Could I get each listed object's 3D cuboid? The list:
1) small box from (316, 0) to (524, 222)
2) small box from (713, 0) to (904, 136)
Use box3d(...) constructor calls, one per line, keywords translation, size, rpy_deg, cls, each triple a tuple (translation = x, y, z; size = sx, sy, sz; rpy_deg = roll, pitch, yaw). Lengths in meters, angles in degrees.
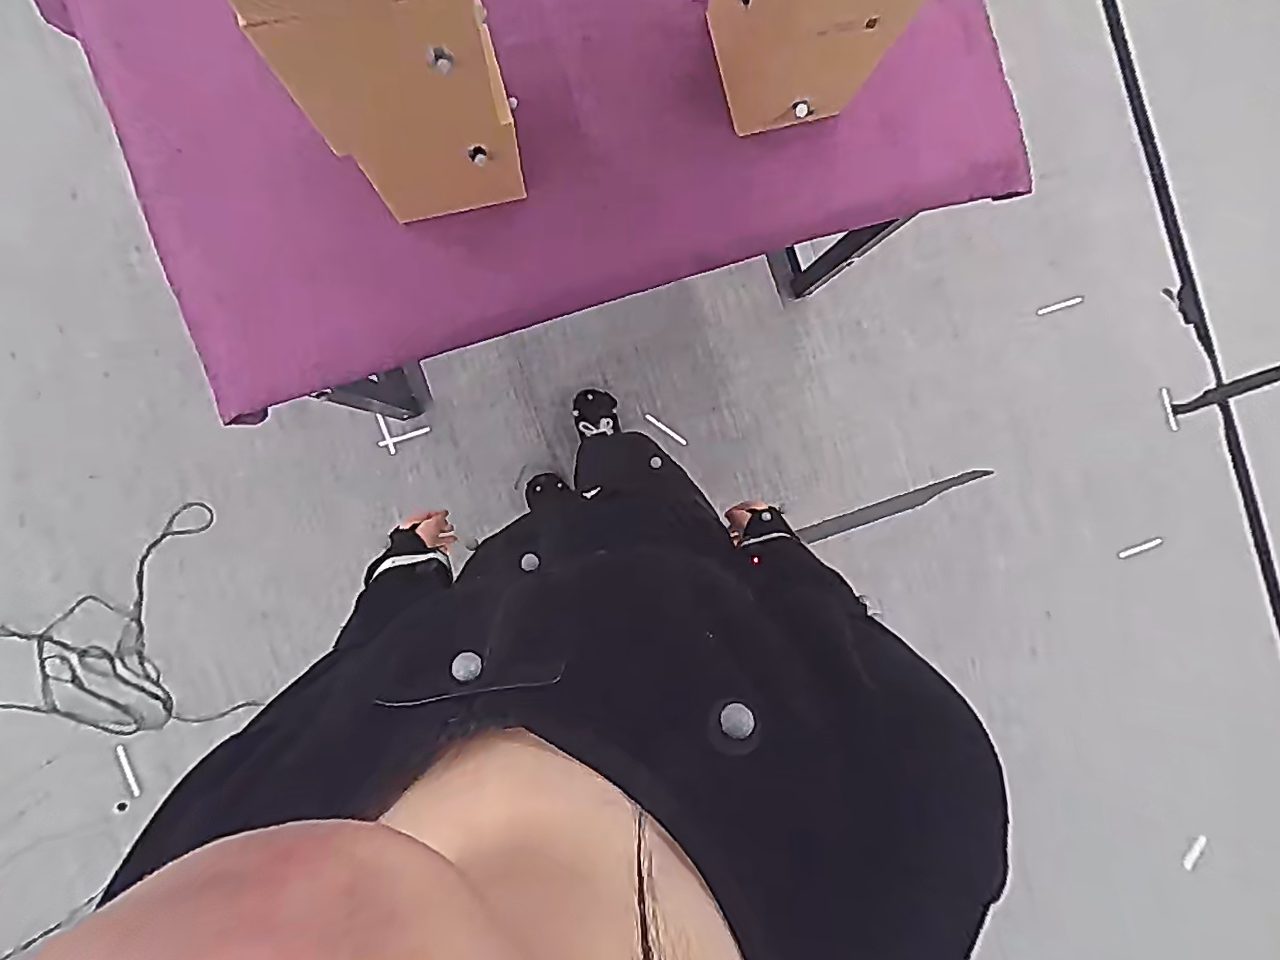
box3d(translation=(-0.244, -0.440, 0.649), size=(0.179, 0.176, 0.168), rpy_deg=(-15, 92, -6), cls="small box")
box3d(translation=(0.205, -0.592, 0.698), size=(0.168, 0.176, 0.179), rpy_deg=(-16, 93, -5), cls="small box")
